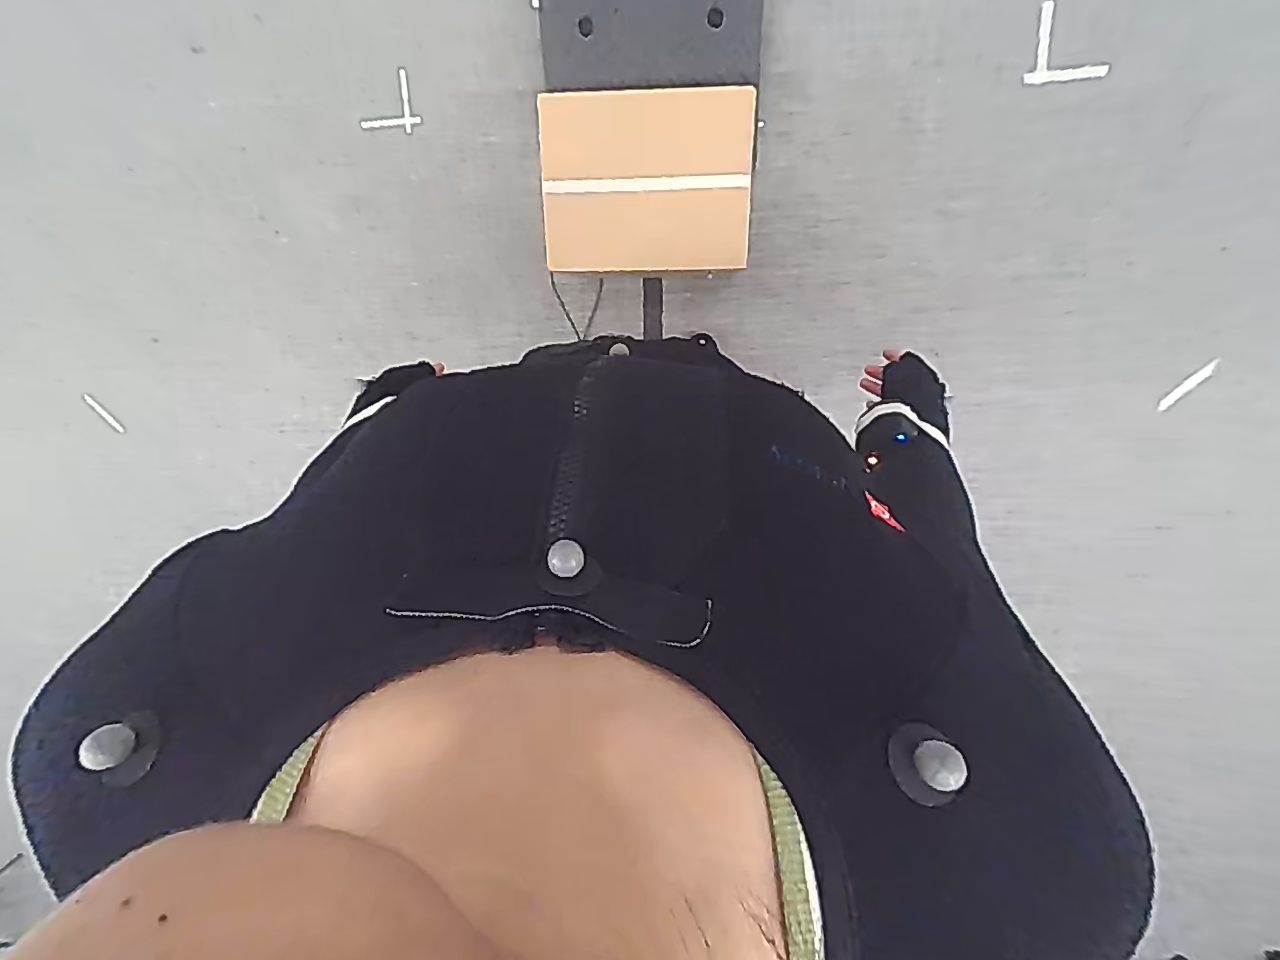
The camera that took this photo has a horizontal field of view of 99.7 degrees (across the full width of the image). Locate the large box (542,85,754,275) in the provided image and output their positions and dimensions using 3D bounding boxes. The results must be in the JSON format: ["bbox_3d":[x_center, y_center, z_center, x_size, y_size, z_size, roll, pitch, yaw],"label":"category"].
[{"bbox_3d":[0.029,-0.623,1.189,0.408,0.320,0.320,1,108,5],"label":"large box"}]

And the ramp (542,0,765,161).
[{"bbox_3d":[0.022,-1.208,1.107,0.509,0.206,0.991,-2,105,4],"label":"ramp"}]
